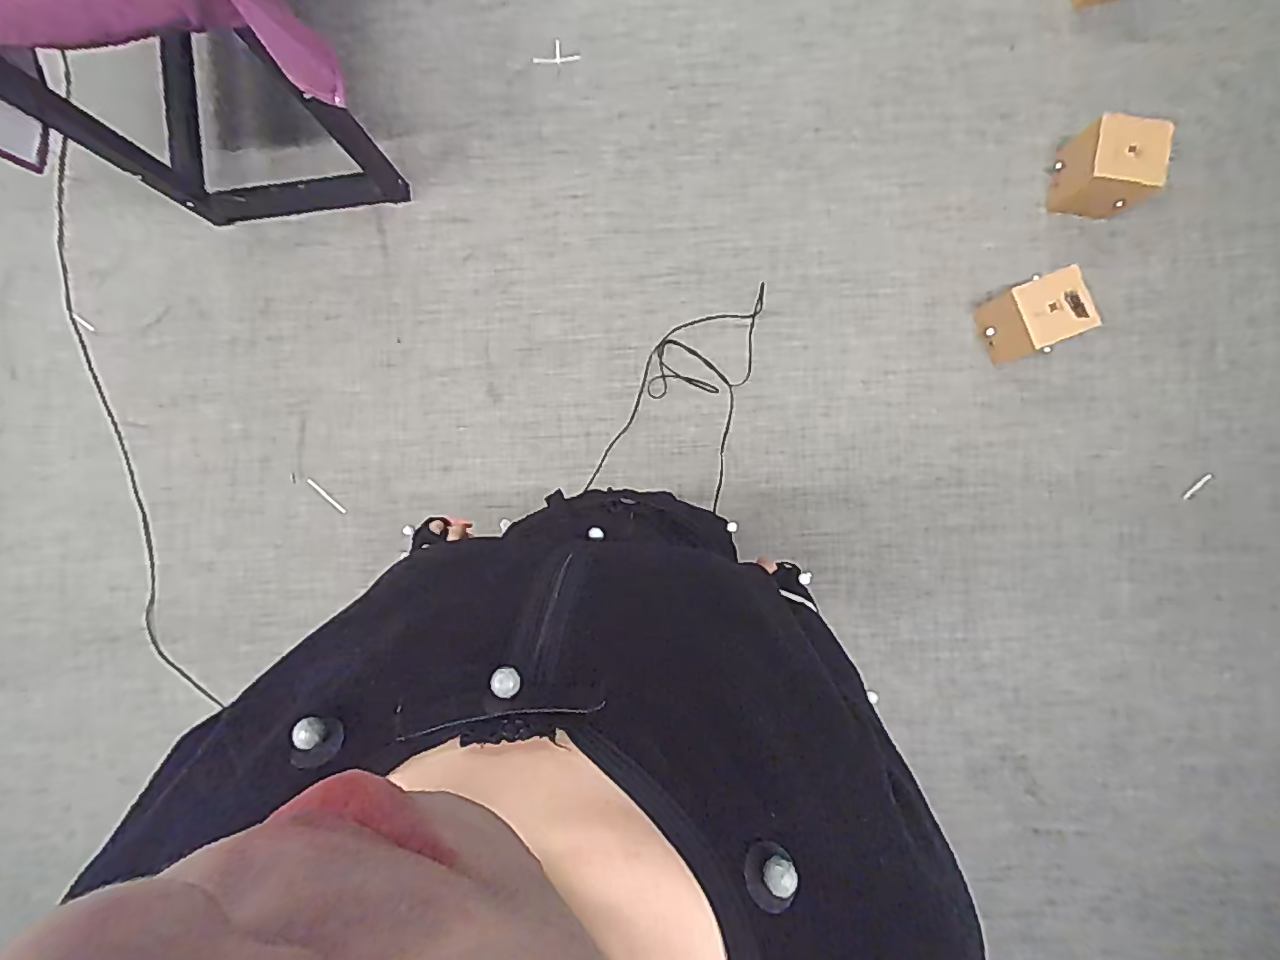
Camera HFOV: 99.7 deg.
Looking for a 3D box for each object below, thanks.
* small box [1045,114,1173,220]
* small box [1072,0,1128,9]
[{"bbox_3d":[1.219,-0.810,1.417,0.179,0.176,0.168,11,89,2],"label":"small box"},{"bbox_3d":[1.269,-1.407,1.426,0.168,0.176,0.179,-9,88,2],"label":"small box"}]
